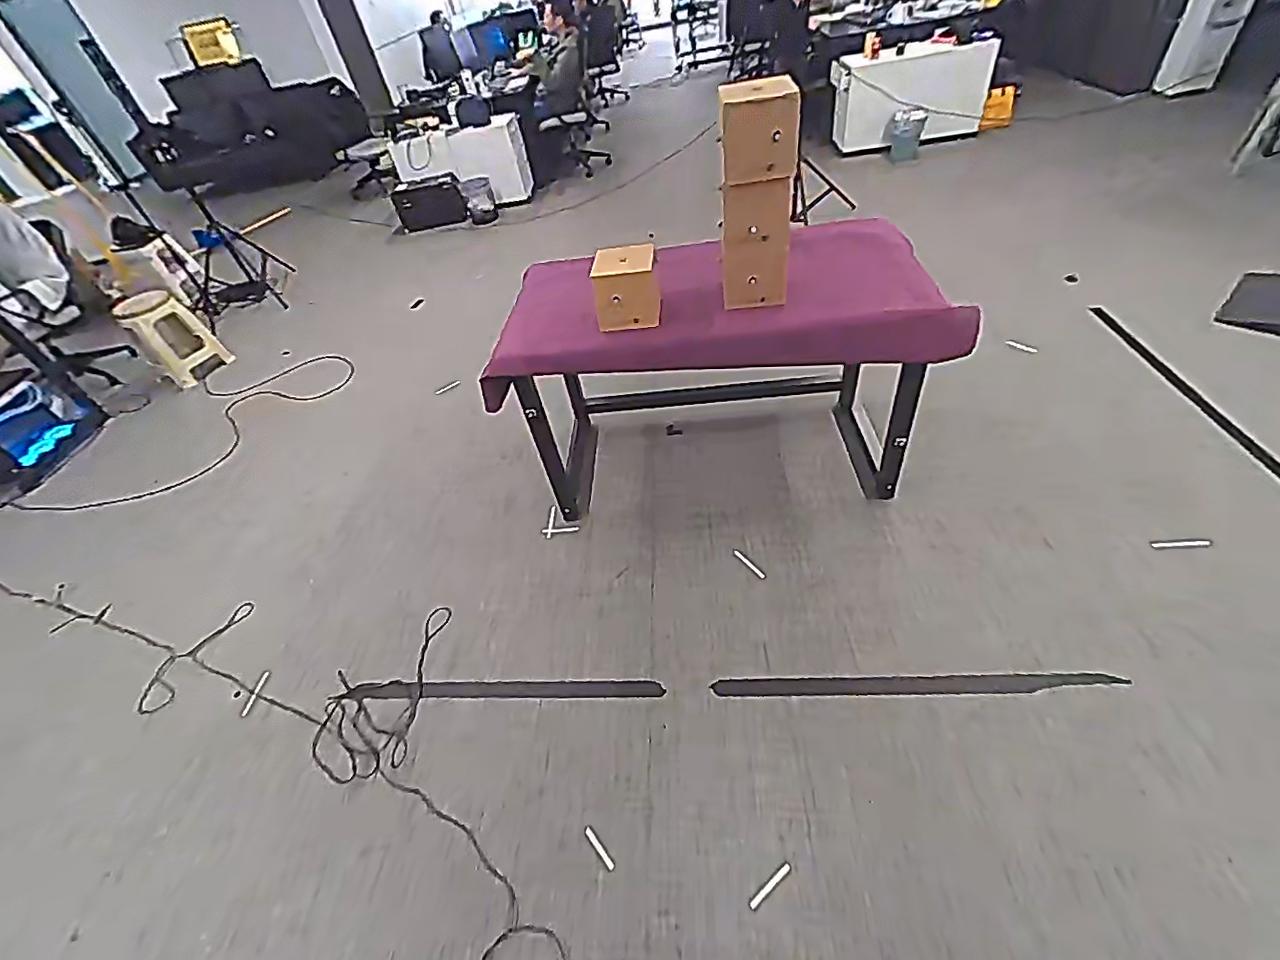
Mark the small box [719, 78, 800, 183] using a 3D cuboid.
[{"bbox_3d":[0.275,-0.811,1.266,0.168,0.176,0.179,-4,45,7],"label":"small box"}]

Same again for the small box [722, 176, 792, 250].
[{"bbox_3d":[0.297,-0.714,1.395,0.168,0.176,0.179,-2,46,10],"label":"small box"}]

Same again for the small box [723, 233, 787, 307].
[{"bbox_3d":[0.318,-0.596,1.509,0.168,0.176,0.179,-2,45,9],"label":"small box"}]

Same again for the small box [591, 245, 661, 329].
[{"bbox_3d":[-0.033,-0.537,1.523,0.168,0.176,0.179,-3,44,8],"label":"small box"}]
